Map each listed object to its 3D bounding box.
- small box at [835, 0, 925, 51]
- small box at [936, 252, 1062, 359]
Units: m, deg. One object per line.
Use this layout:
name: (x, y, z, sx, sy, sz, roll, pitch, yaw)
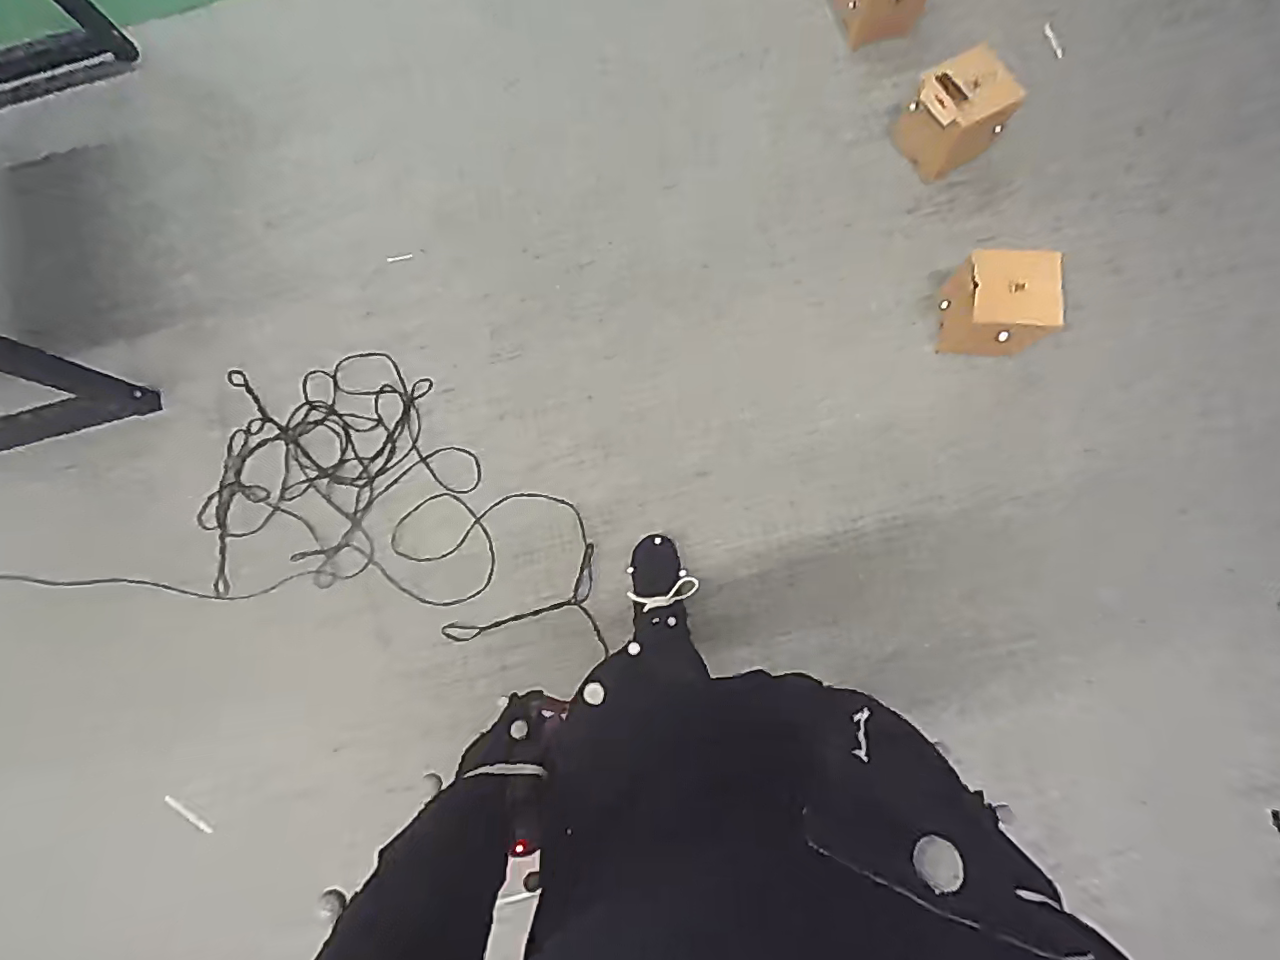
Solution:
small box: (0.614, -1.240, 1.369, 0.179, 0.176, 0.168, -17, 80, 0)
small box: (0.784, -0.377, 1.194, 0.179, 0.176, 0.168, 5, 80, 5)
